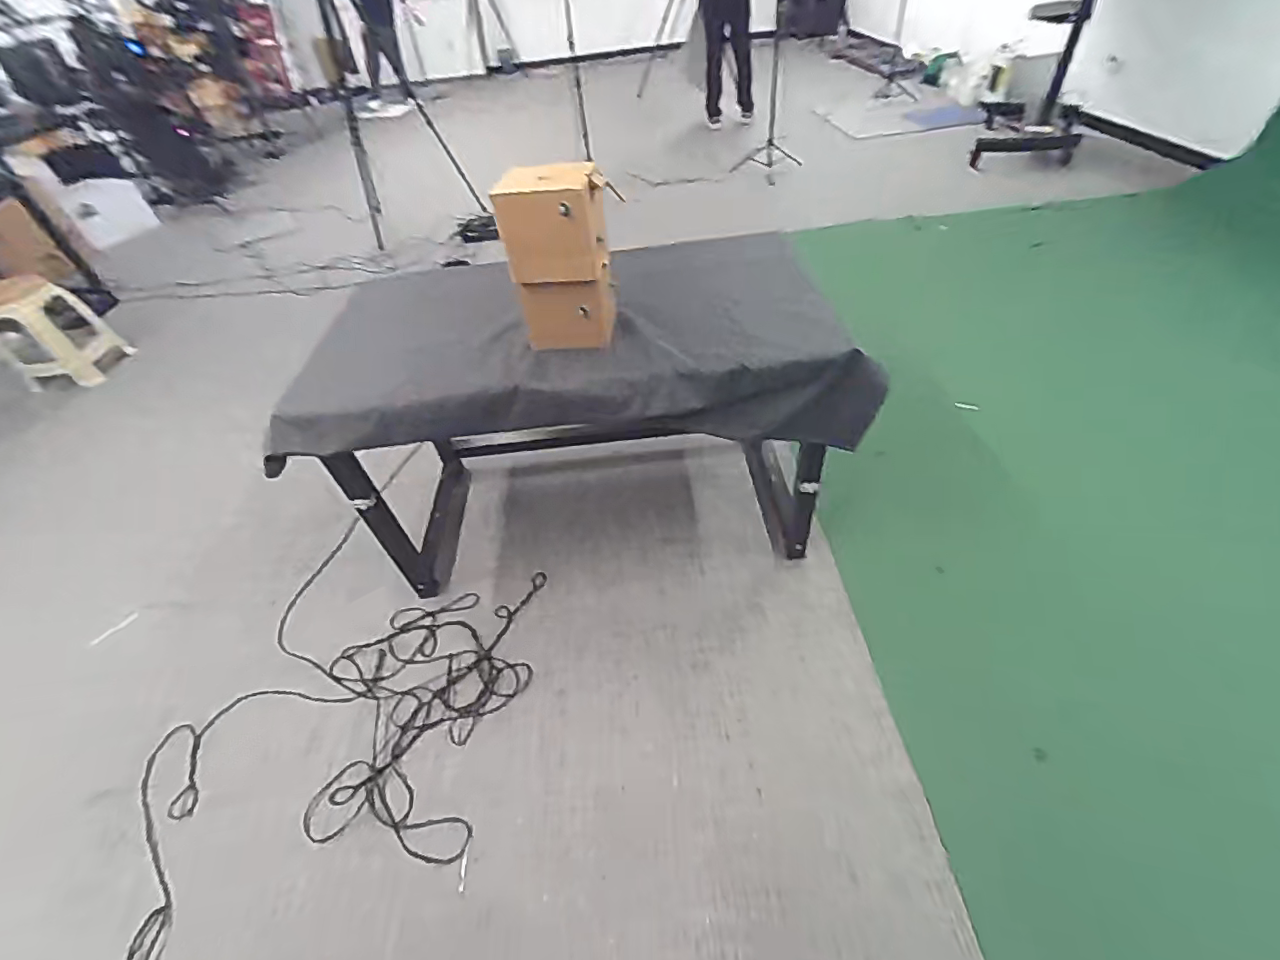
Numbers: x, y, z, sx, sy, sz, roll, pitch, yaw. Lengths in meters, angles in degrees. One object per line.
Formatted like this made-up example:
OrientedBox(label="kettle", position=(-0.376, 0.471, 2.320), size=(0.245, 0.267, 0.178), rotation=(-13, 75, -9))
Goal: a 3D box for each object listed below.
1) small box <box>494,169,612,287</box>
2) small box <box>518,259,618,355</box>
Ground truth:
OrientedBox(label="small box", position=(-0.160, -0.491, 1.061), size=(0.179, 0.176, 0.168), rotation=(1, 44, 8))
OrientedBox(label="small box", position=(-0.147, -0.391, 1.190), size=(0.179, 0.176, 0.168), rotation=(-1, 44, 7))
